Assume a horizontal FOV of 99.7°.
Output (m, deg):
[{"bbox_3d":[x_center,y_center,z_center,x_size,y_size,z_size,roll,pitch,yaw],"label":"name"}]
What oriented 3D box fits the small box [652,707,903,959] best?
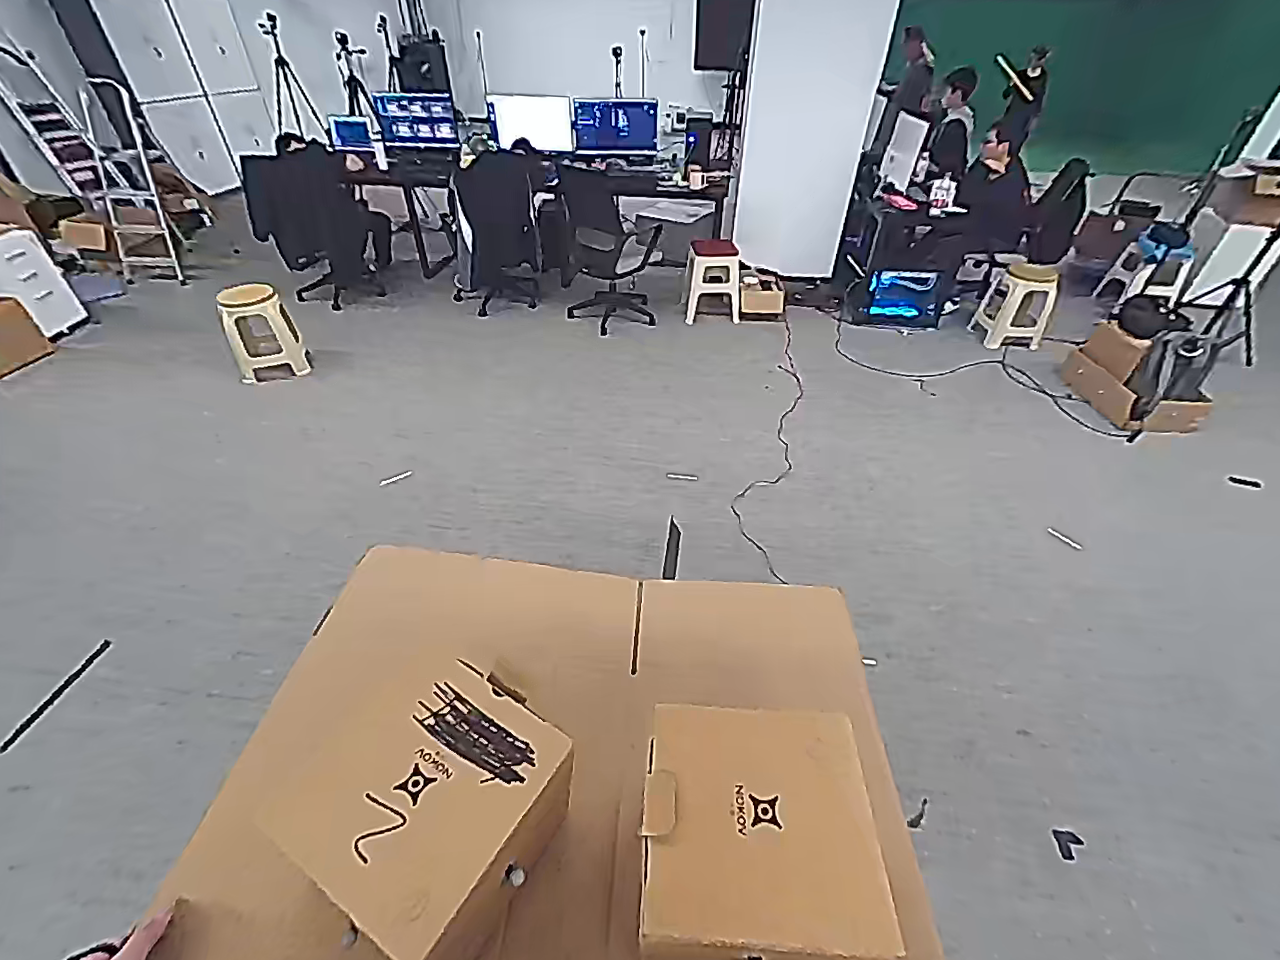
[{"bbox_3d":[0.102,0.326,0.485,0.179,0.176,0.168,1,40,4],"label":"small box"}]
